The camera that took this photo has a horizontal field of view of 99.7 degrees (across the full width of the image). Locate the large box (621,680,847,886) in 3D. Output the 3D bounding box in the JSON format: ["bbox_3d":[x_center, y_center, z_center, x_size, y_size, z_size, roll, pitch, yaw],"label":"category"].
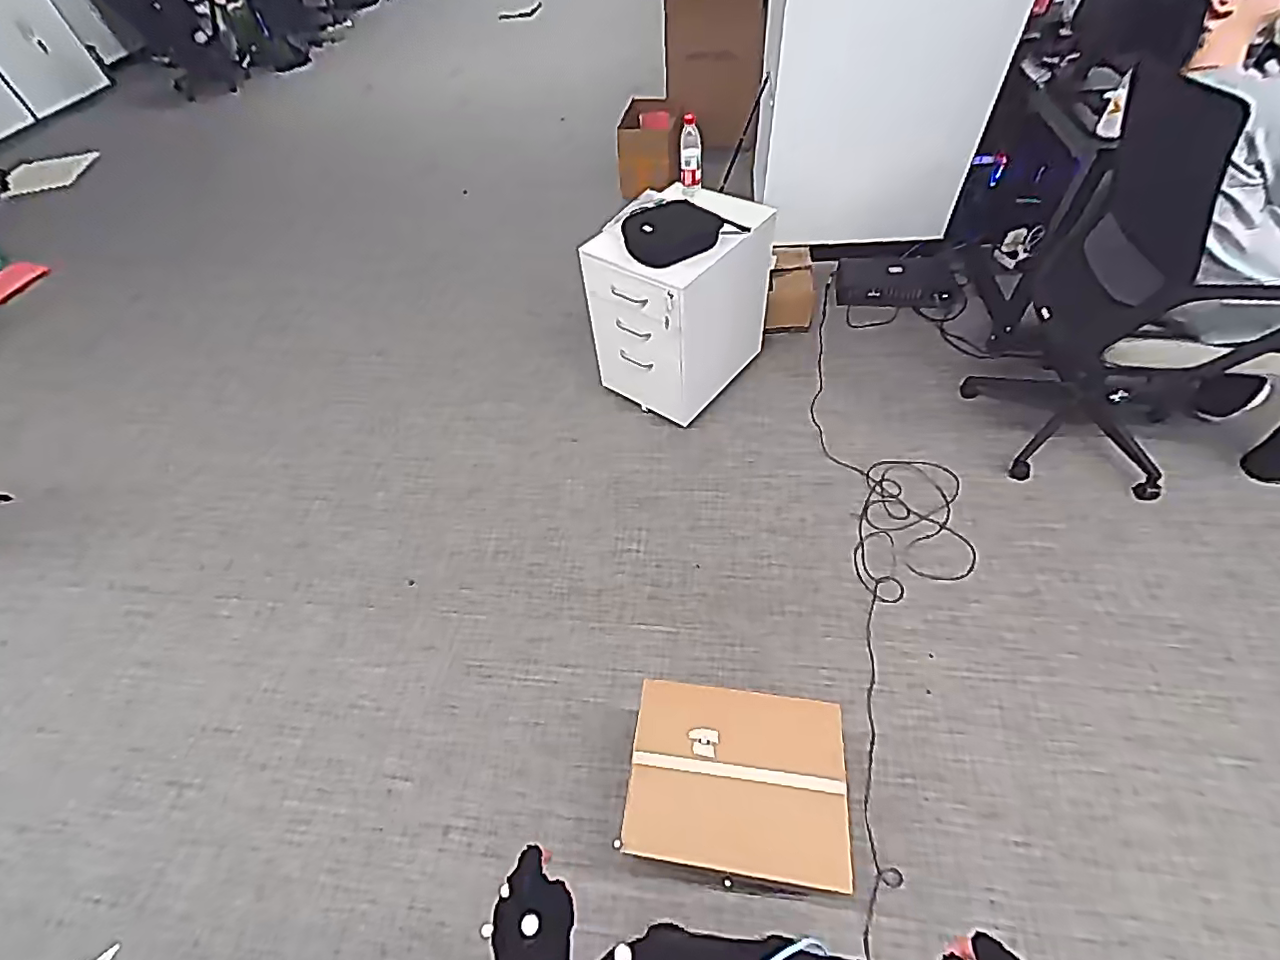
[{"bbox_3d":[0.195,0.648,1.157,0.408,0.320,0.320,4,53,9],"label":"large box"}]
